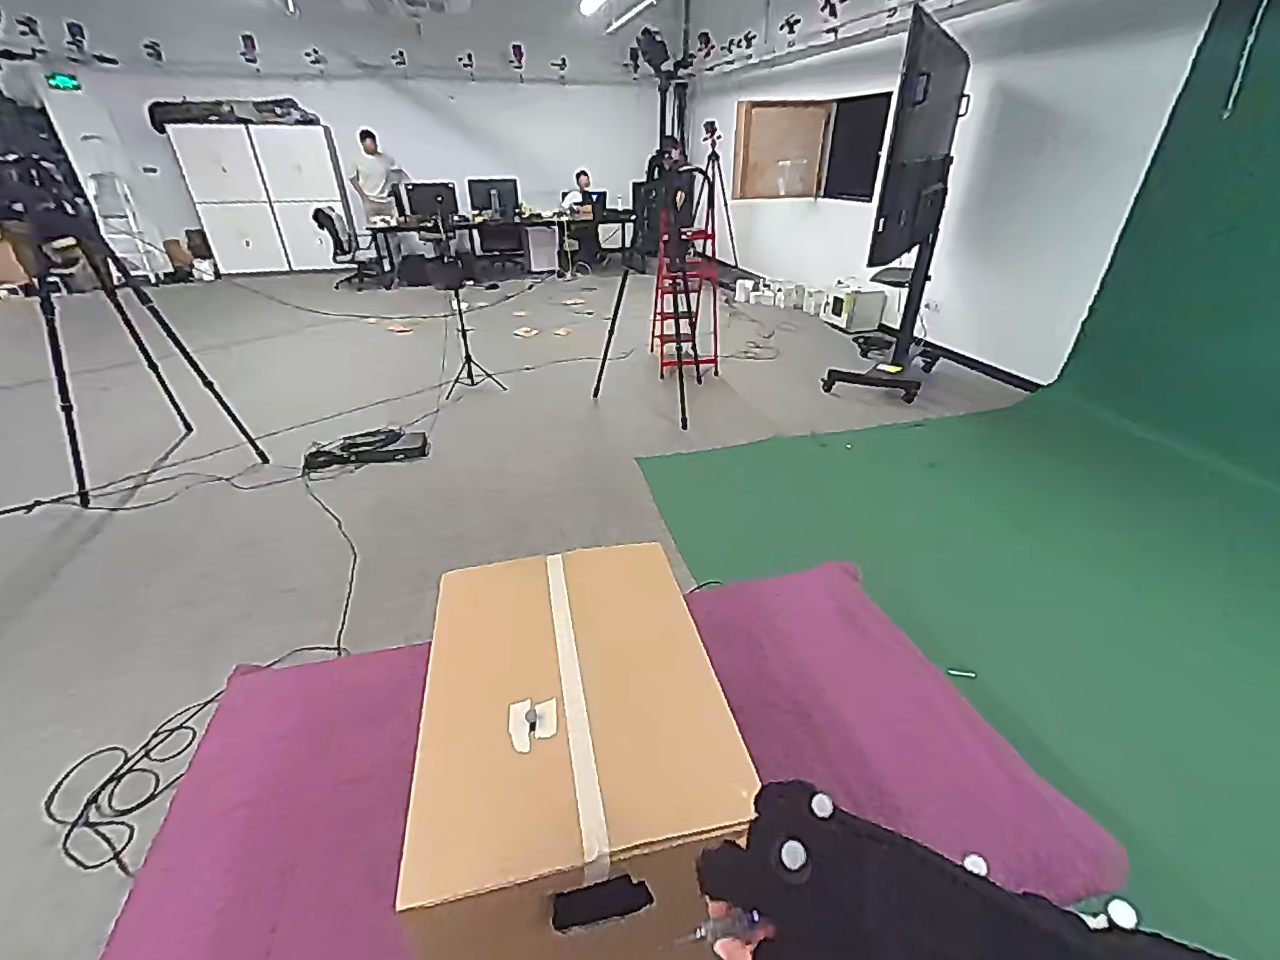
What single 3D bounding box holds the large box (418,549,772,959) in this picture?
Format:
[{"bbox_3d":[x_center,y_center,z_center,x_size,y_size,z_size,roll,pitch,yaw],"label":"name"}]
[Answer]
[{"bbox_3d":[-0.076,0.345,0.696,0.320,0.320,0.408,-7,32,-11],"label":"large box"}]
